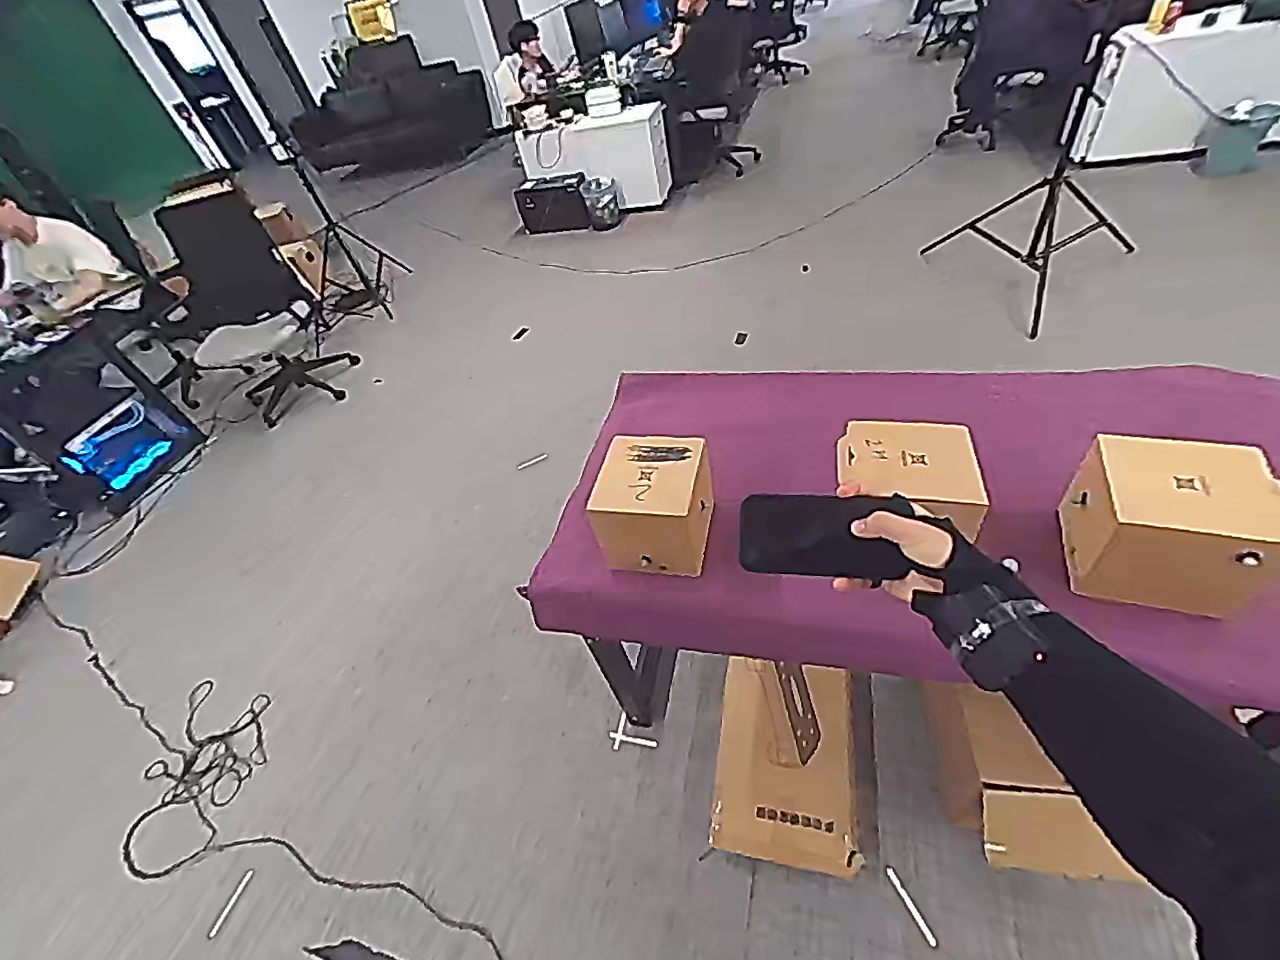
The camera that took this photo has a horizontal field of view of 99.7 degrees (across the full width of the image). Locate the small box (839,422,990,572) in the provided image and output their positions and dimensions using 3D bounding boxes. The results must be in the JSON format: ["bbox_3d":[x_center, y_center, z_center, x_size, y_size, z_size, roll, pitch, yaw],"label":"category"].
[{"bbox_3d":[0.412,0.027,0.844,0.179,0.176,0.168,2,45,17],"label":"small box"}]

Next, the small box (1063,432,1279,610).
[{"bbox_3d":[0.711,0.056,0.738,0.179,0.176,0.168,8,49,21],"label":"small box"}]
